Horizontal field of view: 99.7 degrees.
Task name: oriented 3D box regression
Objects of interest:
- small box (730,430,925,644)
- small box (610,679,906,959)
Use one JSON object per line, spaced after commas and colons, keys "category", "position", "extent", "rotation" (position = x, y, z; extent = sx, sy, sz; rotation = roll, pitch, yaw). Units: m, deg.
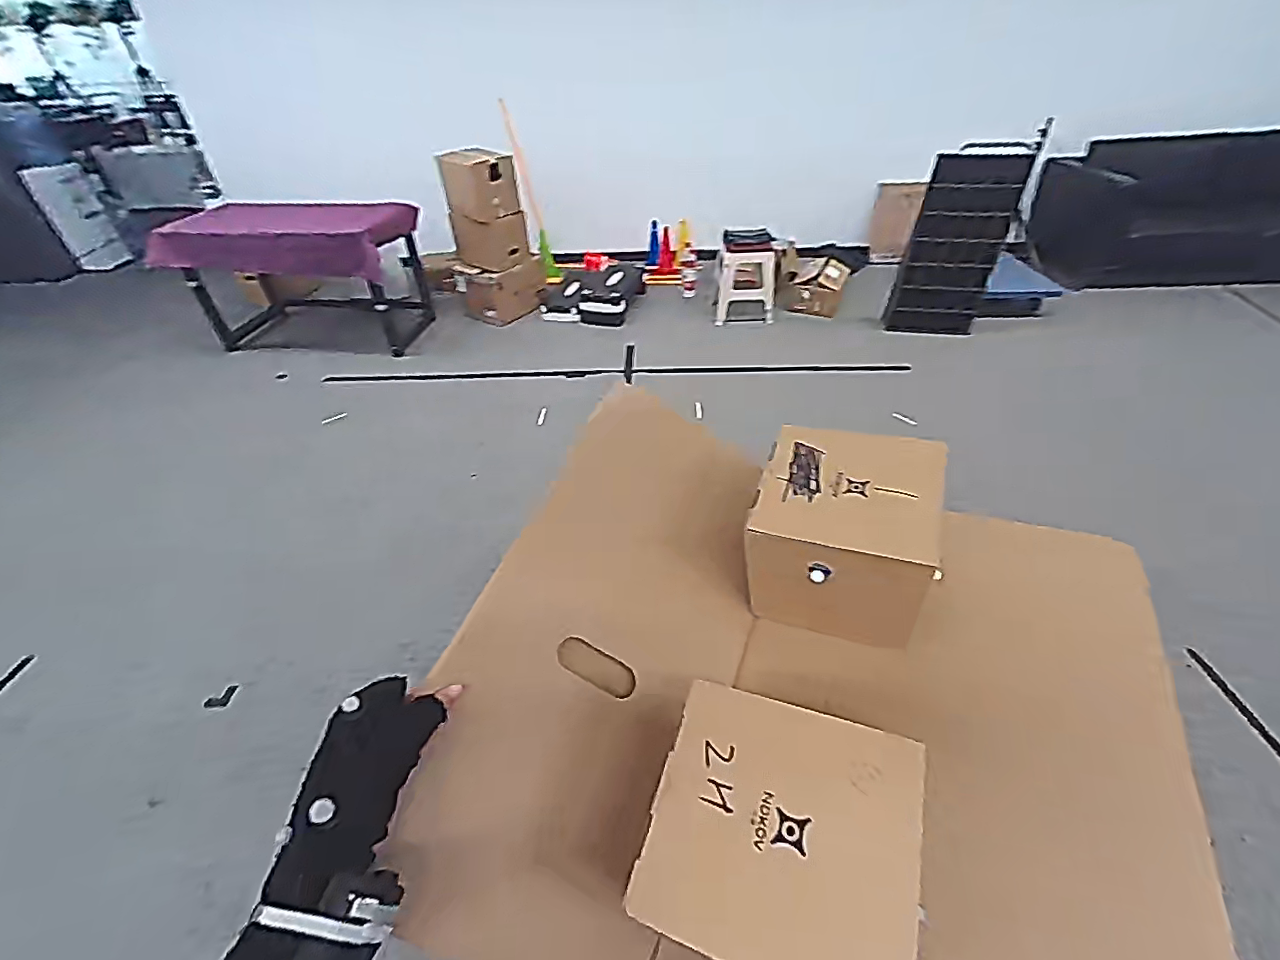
{"category": "small box", "position": [0.215, 0.065, 0.626], "extent": [0.179, 0.176, 0.168], "rotation": [10, 50, 23]}
{"category": "small box", "position": [0.102, 0.293, 0.436], "extent": [0.179, 0.176, 0.168], "rotation": [8, 49, 23]}
